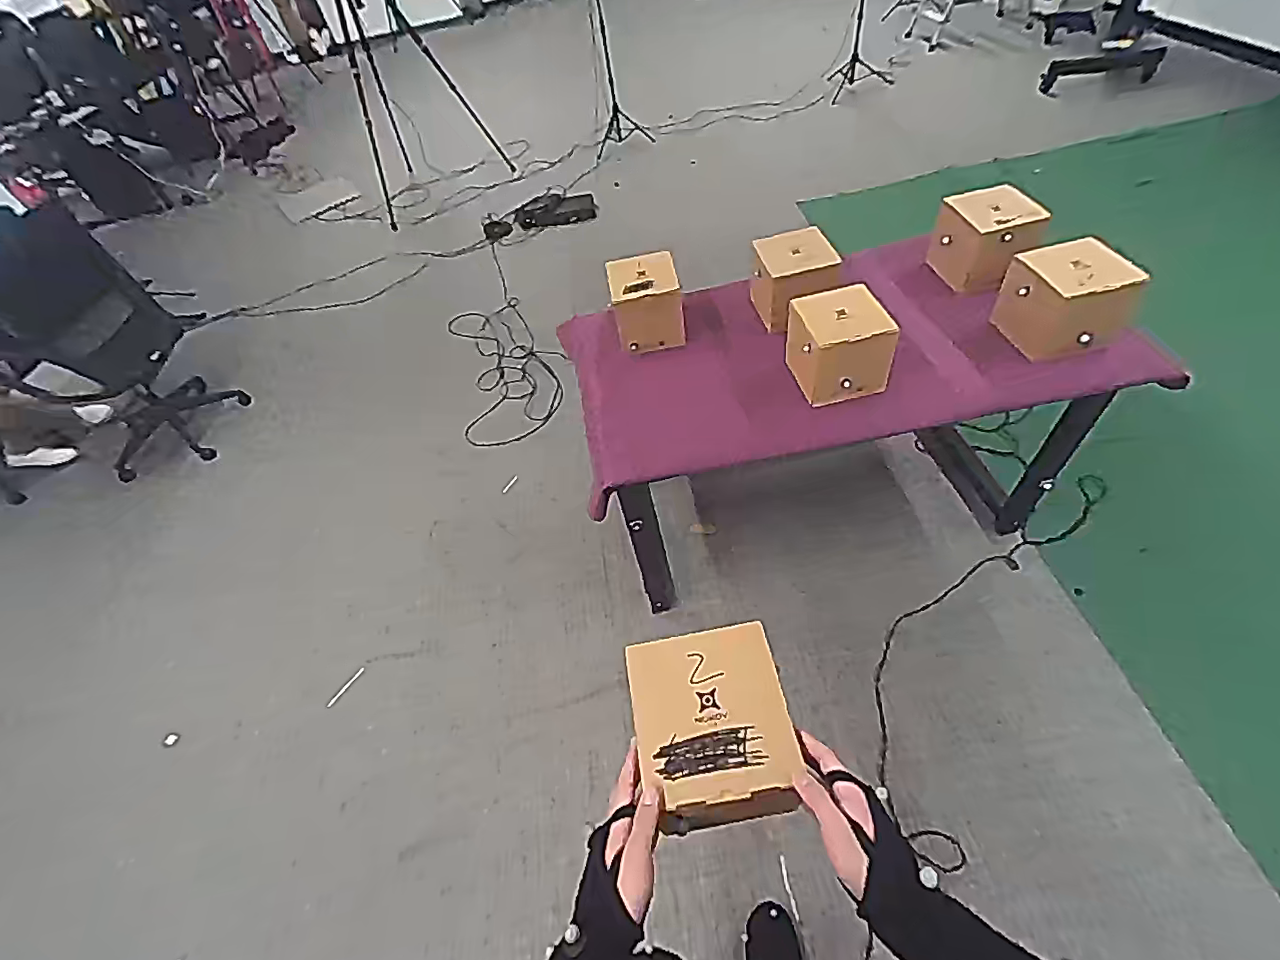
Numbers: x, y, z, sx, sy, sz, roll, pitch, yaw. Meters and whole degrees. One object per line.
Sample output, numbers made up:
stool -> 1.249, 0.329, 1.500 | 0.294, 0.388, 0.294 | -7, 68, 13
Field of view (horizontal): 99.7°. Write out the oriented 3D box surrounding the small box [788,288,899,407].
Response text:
small box -> 0.431, -0.288, 1.182 | 0.168, 0.176, 0.179 | -13, 51, 0

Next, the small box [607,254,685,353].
small box -> 0.017, -0.441, 1.378 | 0.168, 0.176, 0.179 | -10, 52, 2

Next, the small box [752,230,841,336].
small box -> 0.381, -0.490, 1.352 | 0.168, 0.176, 0.179 | -12, 52, 2

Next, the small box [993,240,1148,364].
small box -> 0.900, -0.377, 1.155 | 0.168, 0.176, 0.179 | -12, 50, 3

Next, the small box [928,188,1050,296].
small box -> 0.844, -0.583, 1.333 | 0.168, 0.176, 0.179 | -14, 51, 1
